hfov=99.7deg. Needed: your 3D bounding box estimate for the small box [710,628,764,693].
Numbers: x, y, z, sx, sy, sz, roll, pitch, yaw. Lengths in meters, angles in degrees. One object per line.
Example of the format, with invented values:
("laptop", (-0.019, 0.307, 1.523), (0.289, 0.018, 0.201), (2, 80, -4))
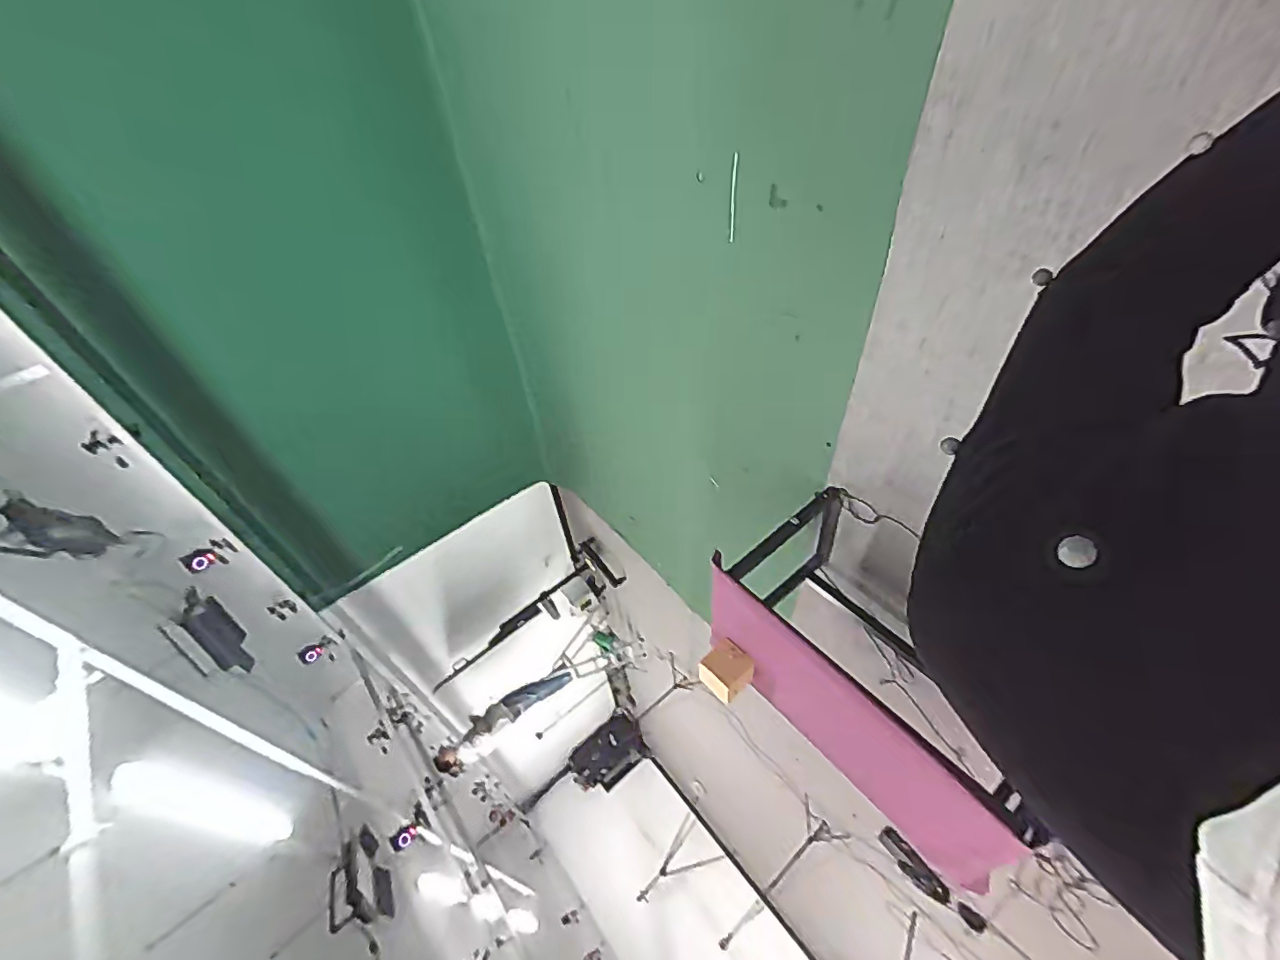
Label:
("small box", (0.426, 0.791, 2.377), (0.168, 0.176, 0.179), (37, 150, 34))
